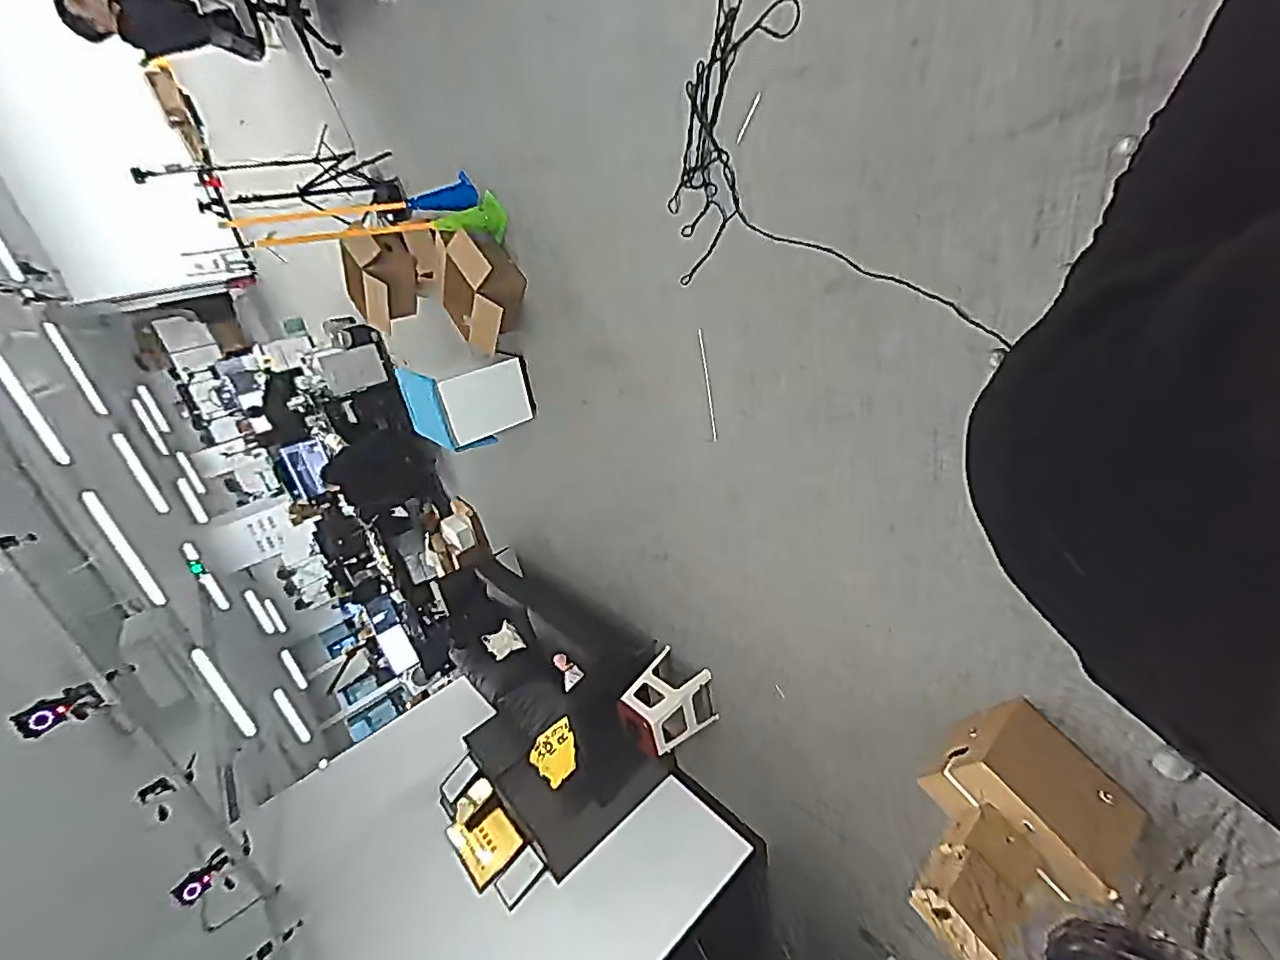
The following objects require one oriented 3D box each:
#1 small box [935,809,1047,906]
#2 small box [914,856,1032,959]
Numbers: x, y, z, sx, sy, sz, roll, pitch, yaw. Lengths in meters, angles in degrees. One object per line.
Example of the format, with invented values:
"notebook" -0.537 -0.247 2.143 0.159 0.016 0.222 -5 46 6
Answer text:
"small box" 0.990 1.067 1.528 0.179 0.176 0.168 45 145 26
"small box" 0.876 1.129 1.424 0.179 0.176 0.168 46 145 21
